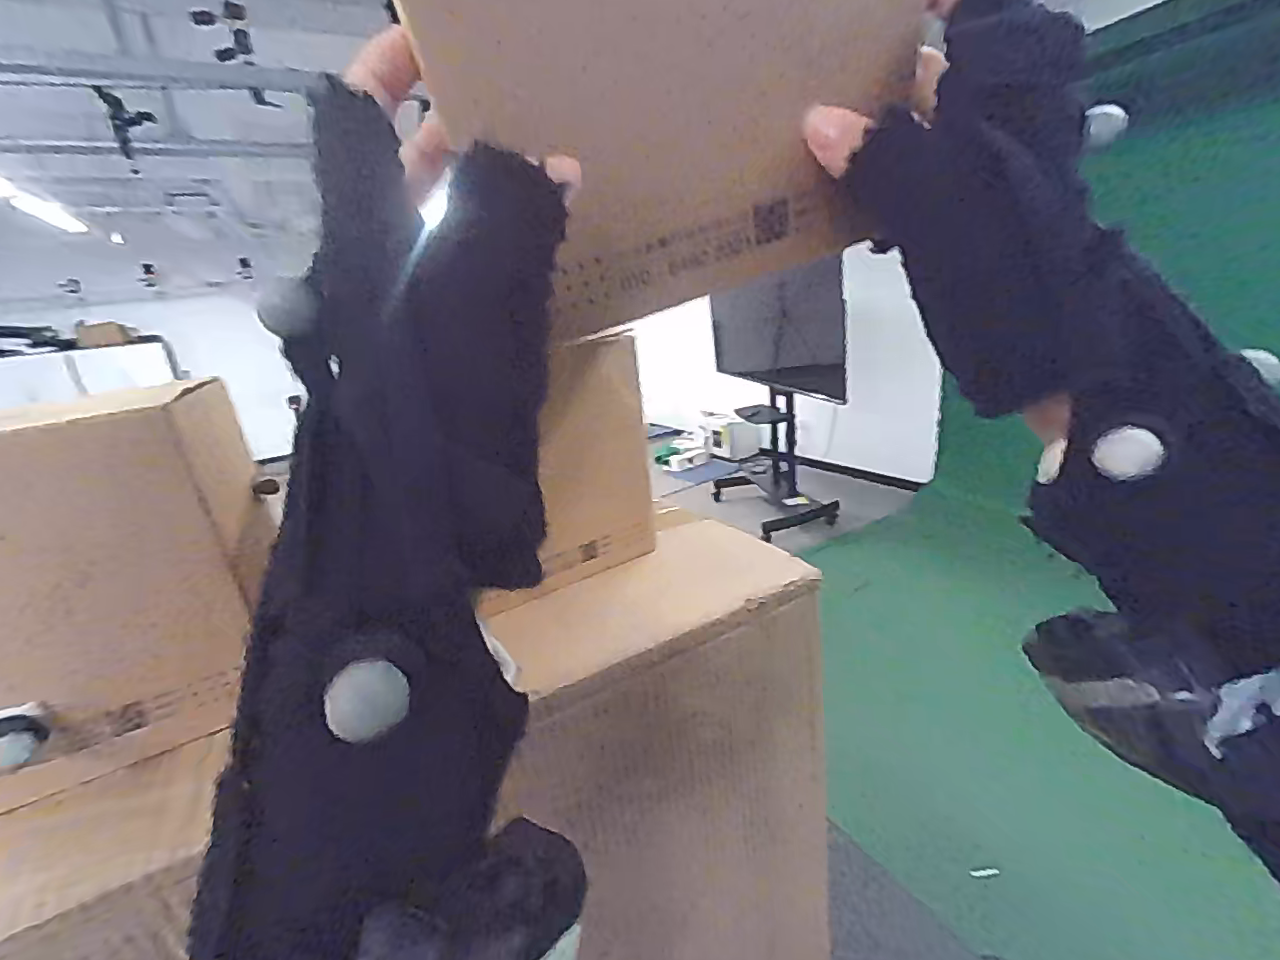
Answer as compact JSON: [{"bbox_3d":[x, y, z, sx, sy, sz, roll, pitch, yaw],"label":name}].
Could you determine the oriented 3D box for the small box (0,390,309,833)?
[{"bbox_3d":[-0.308,0.055,0.307,0.168,0.176,0.179,-19,24,-26],"label":"small box"}]

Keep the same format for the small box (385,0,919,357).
[{"bbox_3d":[-0.009,-0.177,0.230,0.168,0.176,0.179,-21,41,-5],"label":"small box"}]
